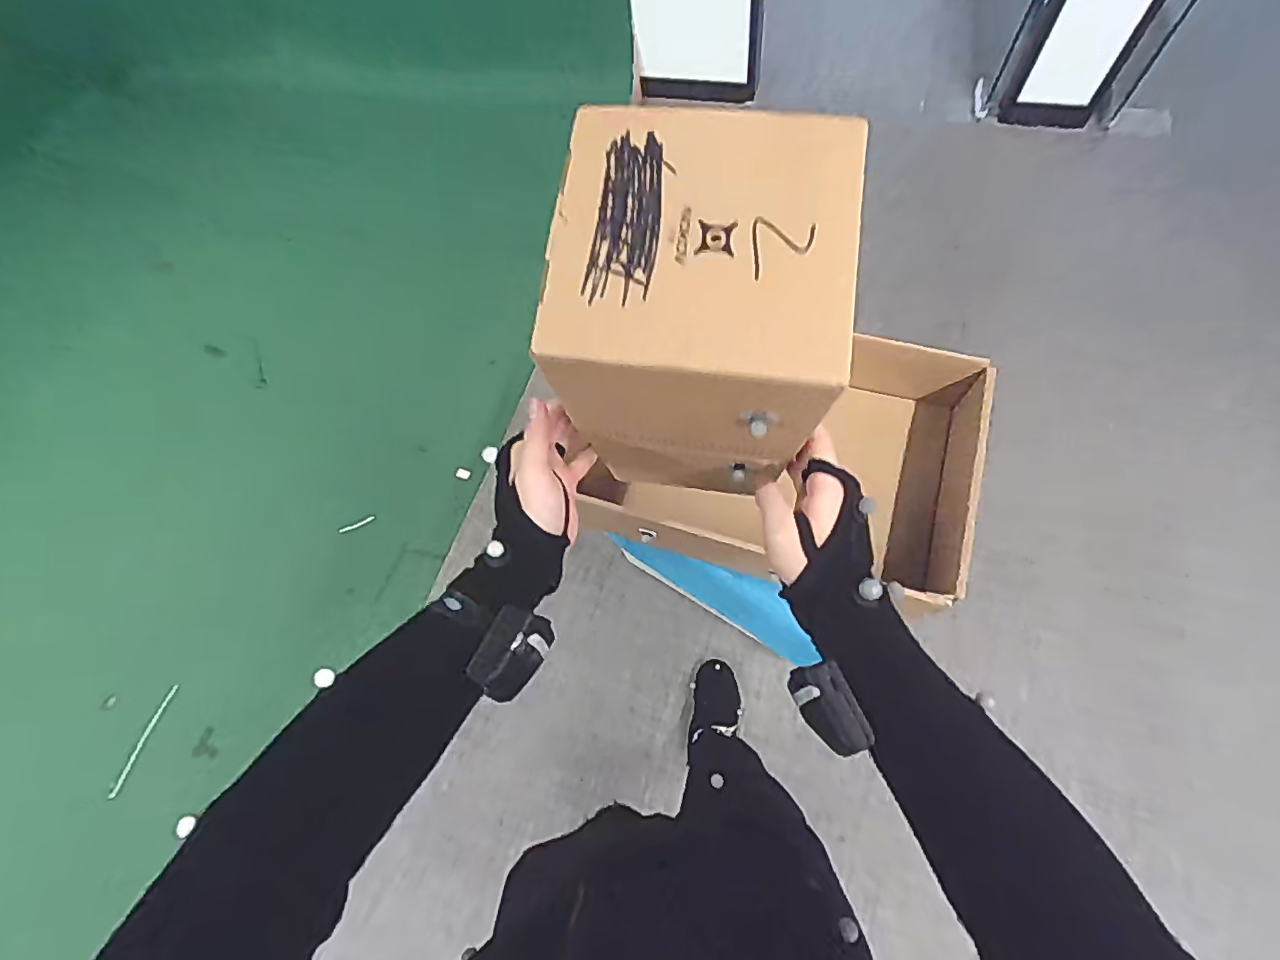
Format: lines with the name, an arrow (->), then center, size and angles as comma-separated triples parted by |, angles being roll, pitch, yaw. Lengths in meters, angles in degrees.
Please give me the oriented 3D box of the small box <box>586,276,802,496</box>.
small box -> 0.057, -0.084, 0.553 | 0.179, 0.176, 0.168 | 6, 78, 7
